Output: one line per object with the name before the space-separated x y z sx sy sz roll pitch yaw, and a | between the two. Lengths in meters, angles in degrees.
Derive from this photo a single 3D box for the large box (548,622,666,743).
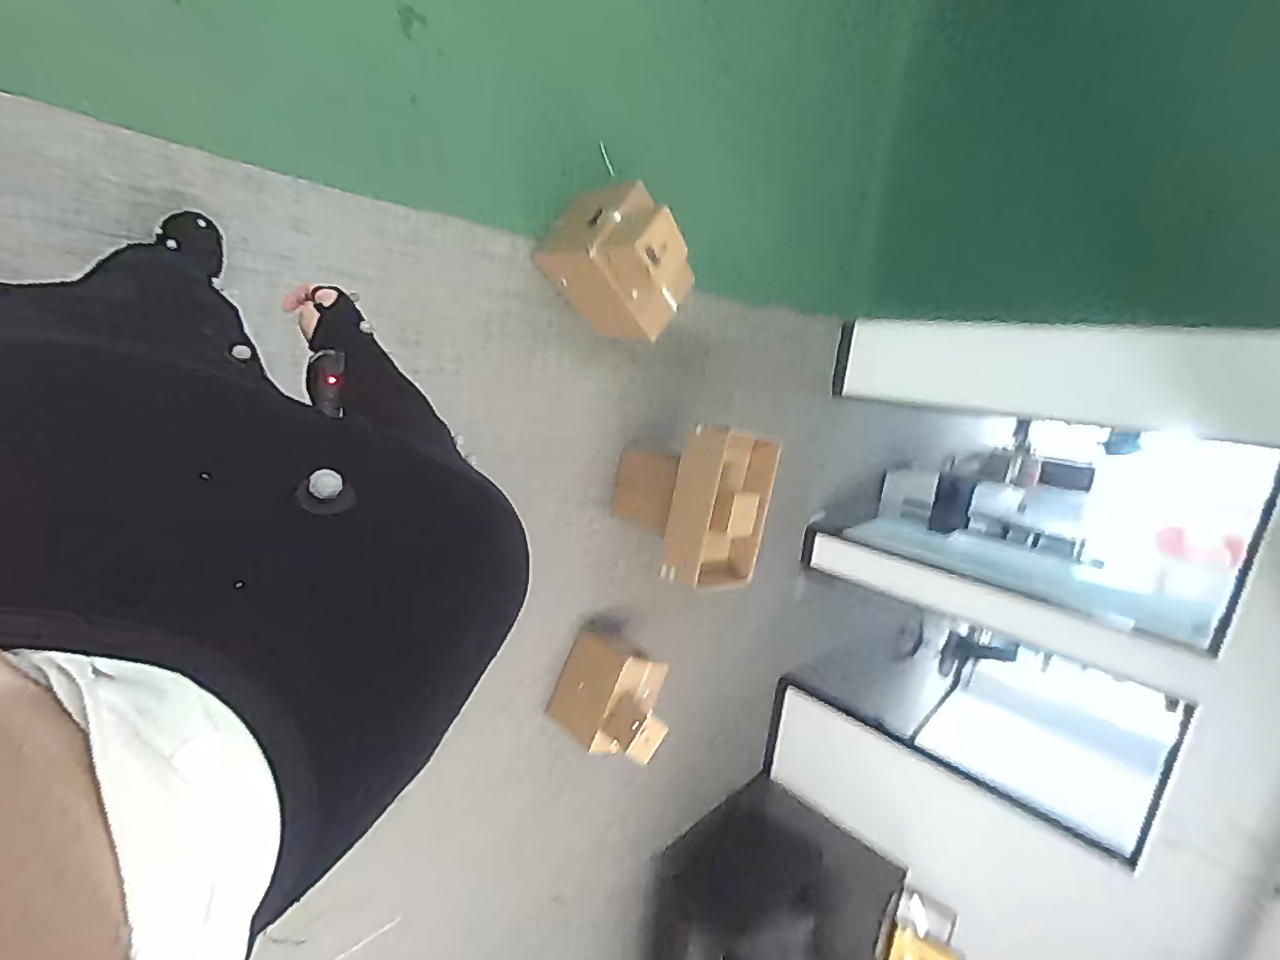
large box | -0.148 0.895 2.406 0.320 0.320 0.408 27 82 -48

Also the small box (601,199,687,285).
small box | 0.005 -0.713 1.634 0.179 0.176 0.168 -57 137 -16

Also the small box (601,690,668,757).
small box | -0.023 0.985 2.201 0.168 0.176 0.179 -54 134 -19
